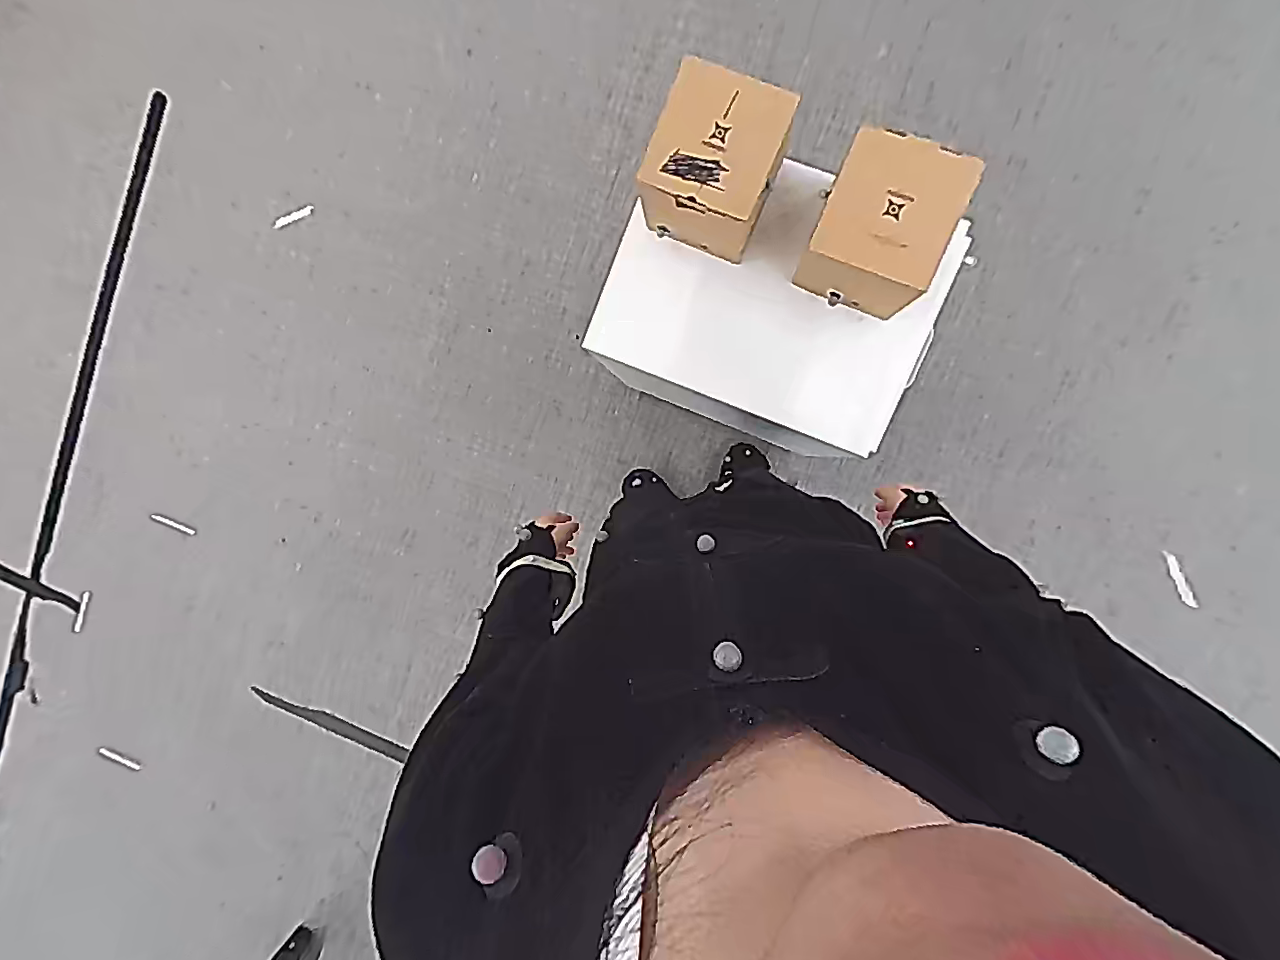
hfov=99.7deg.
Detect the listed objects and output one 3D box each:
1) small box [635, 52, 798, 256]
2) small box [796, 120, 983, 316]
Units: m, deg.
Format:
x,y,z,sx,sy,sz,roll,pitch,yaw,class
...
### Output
x,y,z,sx,sy,sz,roll,pitch,yaw,class
0.109,-0.459,0.793,0.168,0.176,0.179,24,95,4,small box
0.338,-0.360,0.776,0.168,0.176,0.179,22,97,6,small box
